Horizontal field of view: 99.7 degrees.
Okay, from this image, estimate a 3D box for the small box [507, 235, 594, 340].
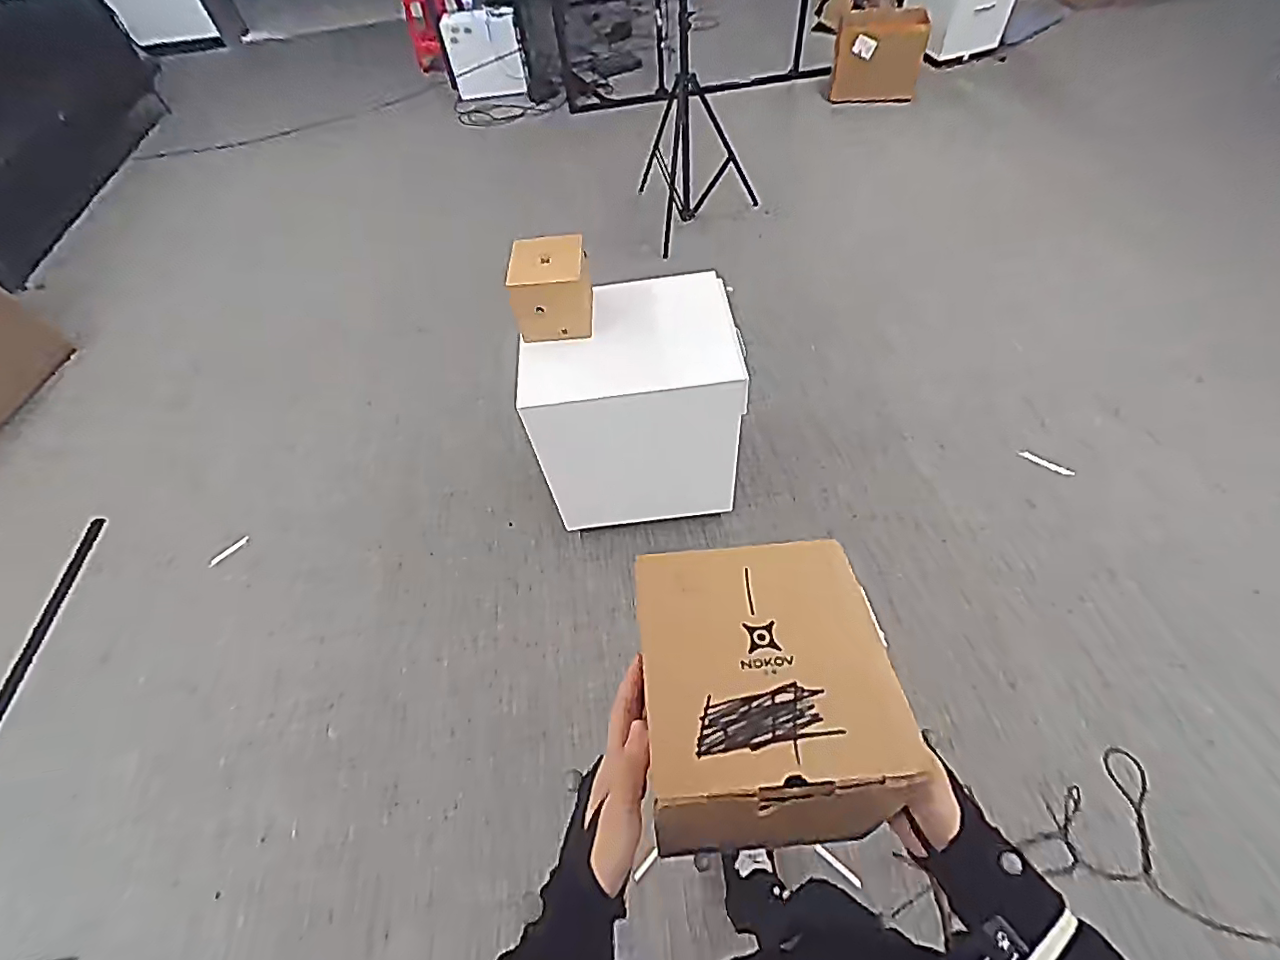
[{"bbox_3d":[-0.203,-0.447,1.281,0.168,0.176,0.179,-4,56,3],"label":"small box"}]
